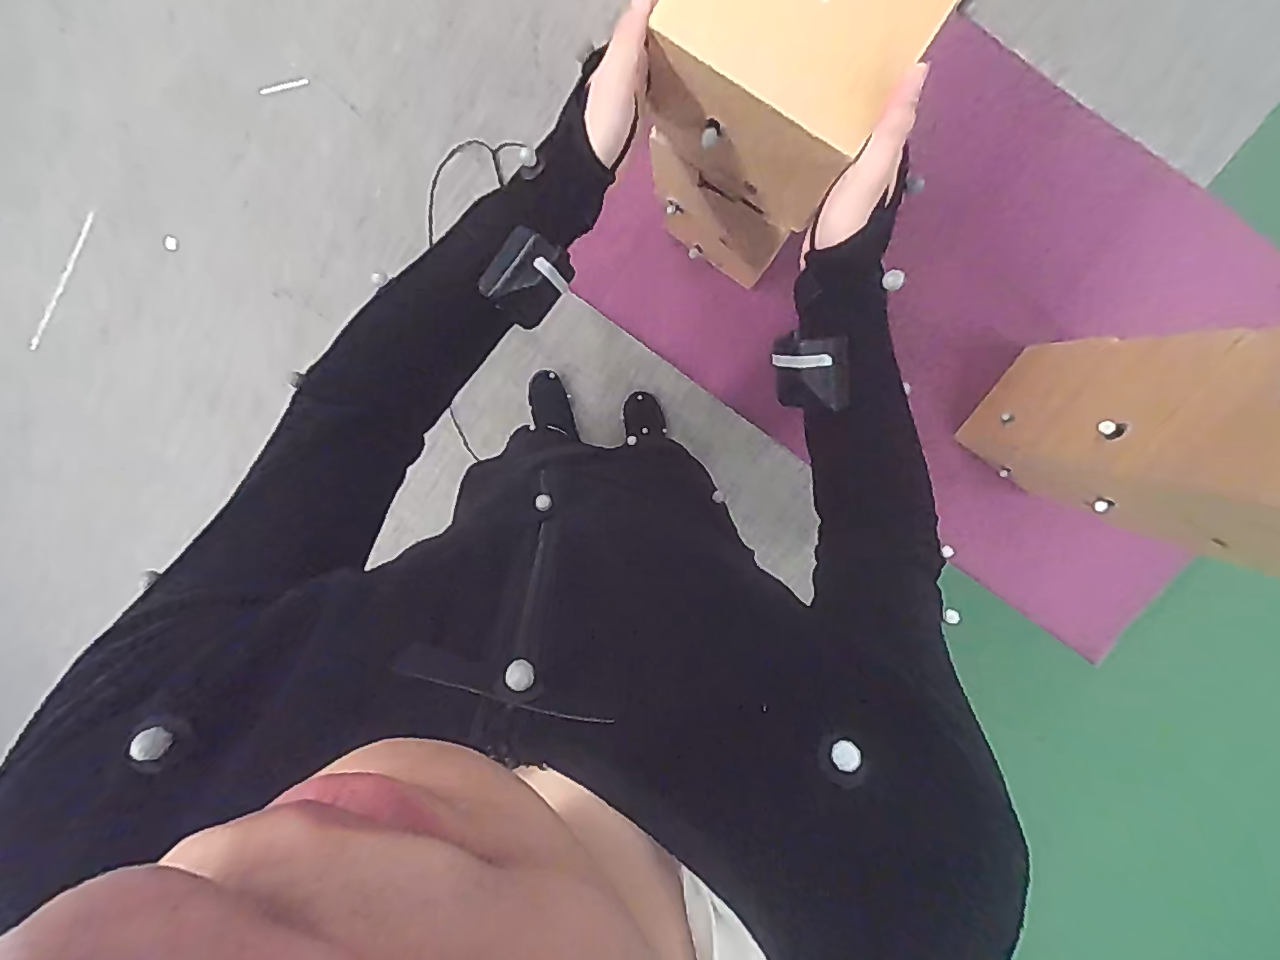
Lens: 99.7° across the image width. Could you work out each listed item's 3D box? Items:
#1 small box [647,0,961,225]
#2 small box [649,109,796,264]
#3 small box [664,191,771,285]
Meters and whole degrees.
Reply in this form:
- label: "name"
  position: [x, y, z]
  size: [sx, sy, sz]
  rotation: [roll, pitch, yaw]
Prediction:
- label: "small box"
  position: [0.123, -0.333, 0.414]
  size: [0.168, 0.176, 0.179]
  rotation: [32, 99, -2]
- label: "small box"
  position: [0.127, -0.361, 0.573]
  size: [0.168, 0.176, 0.179]
  rotation: [35, 98, -3]
- label: "small box"
  position: [0.141, -0.394, 0.732]
  size: [0.168, 0.176, 0.179]
  rotation: [35, 100, -3]
